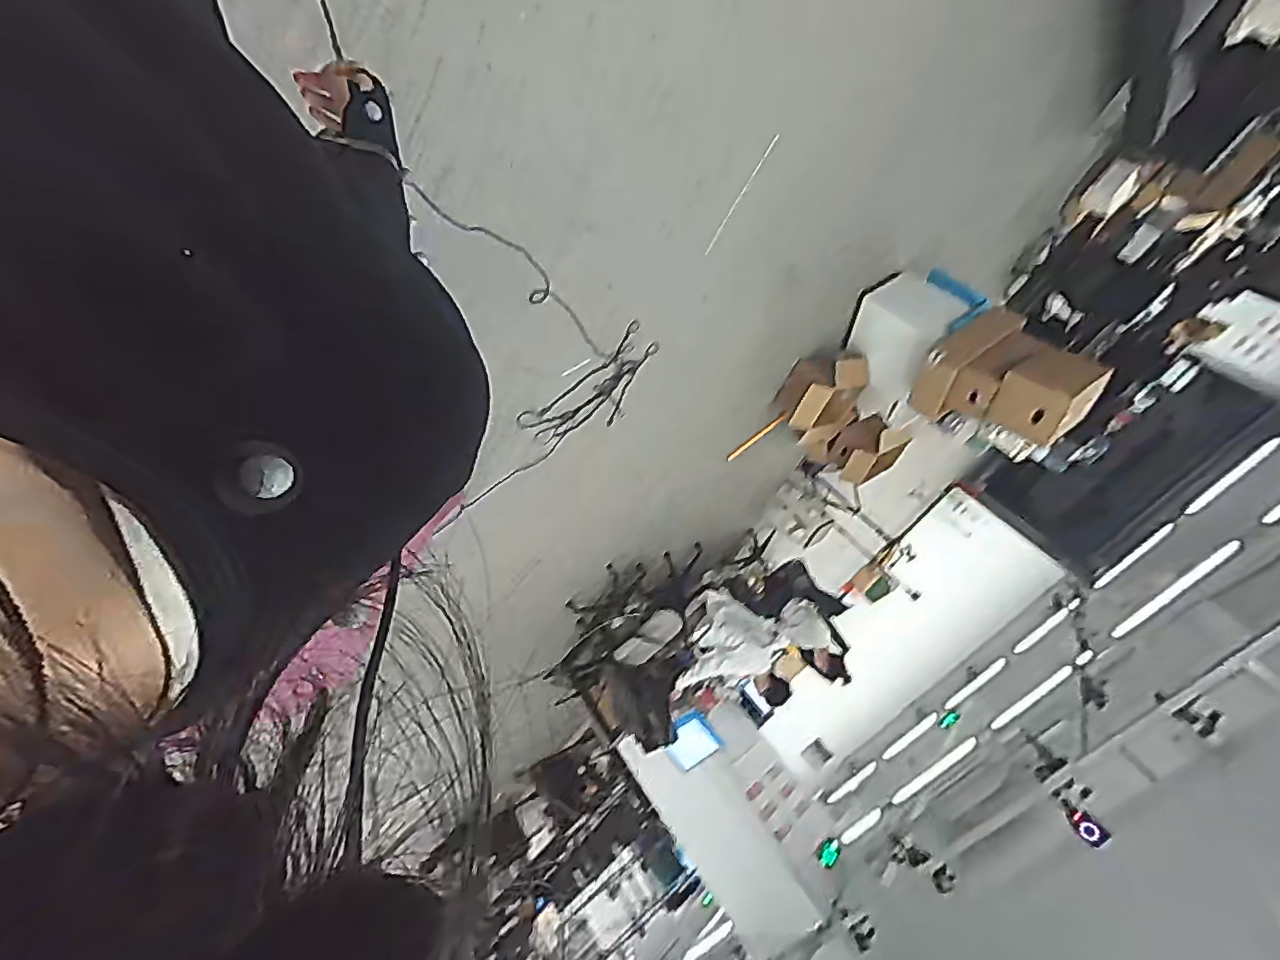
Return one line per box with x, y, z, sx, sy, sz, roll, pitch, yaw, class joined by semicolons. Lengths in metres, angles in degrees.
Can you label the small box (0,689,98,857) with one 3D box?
-0.966;0.448;0.817;0.179;0.176;0.168;2;127;-54;small box
